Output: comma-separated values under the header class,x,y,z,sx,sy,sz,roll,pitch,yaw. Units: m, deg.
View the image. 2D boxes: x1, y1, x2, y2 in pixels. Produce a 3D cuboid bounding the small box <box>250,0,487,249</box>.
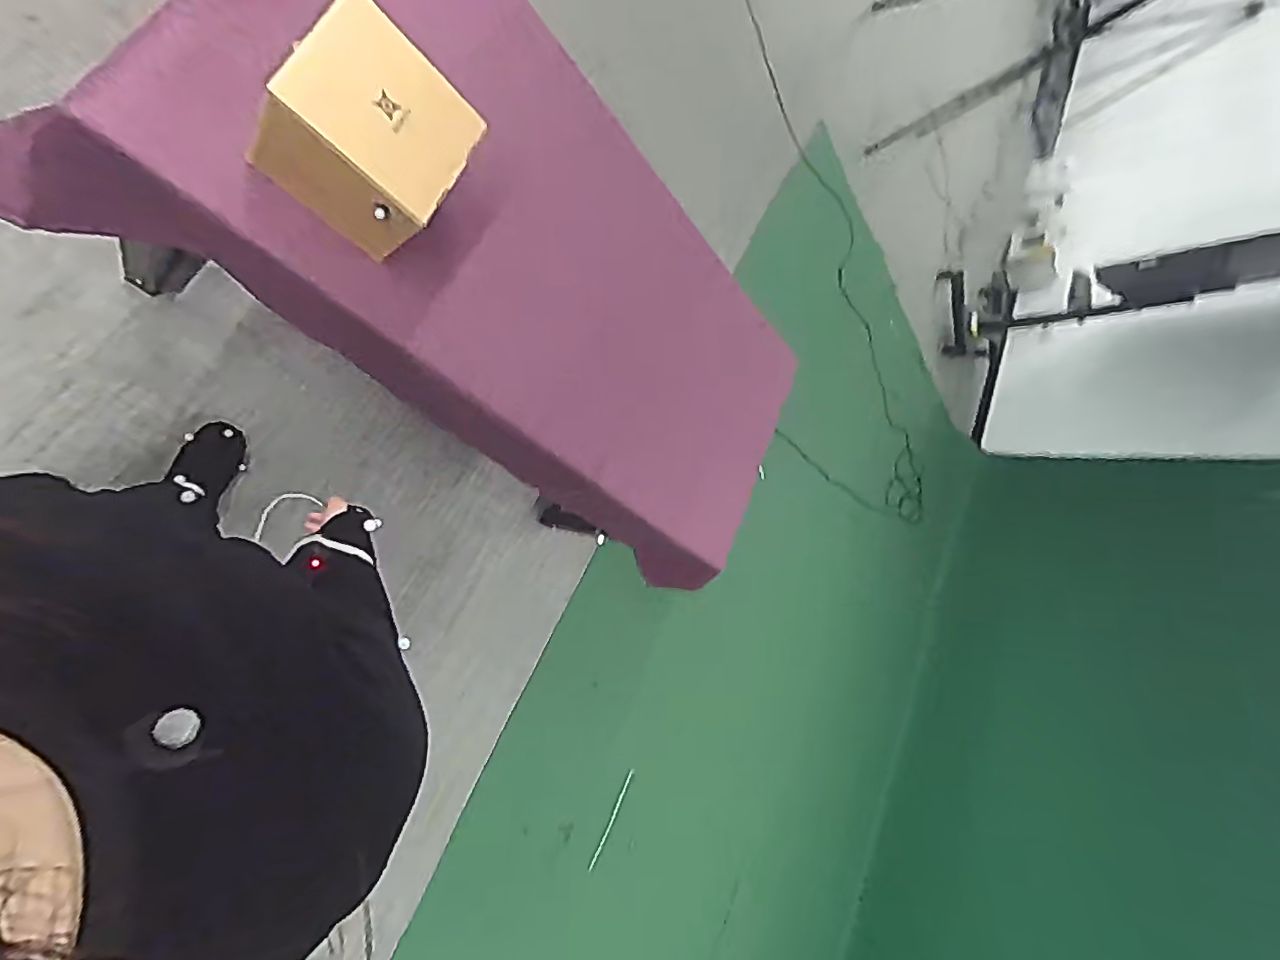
class,x,y,z,sx,sy,sz,roll,pitch,yaw
small box,-0.325,-0.410,0.644,0.179,0.176,0.168,36,69,-38
